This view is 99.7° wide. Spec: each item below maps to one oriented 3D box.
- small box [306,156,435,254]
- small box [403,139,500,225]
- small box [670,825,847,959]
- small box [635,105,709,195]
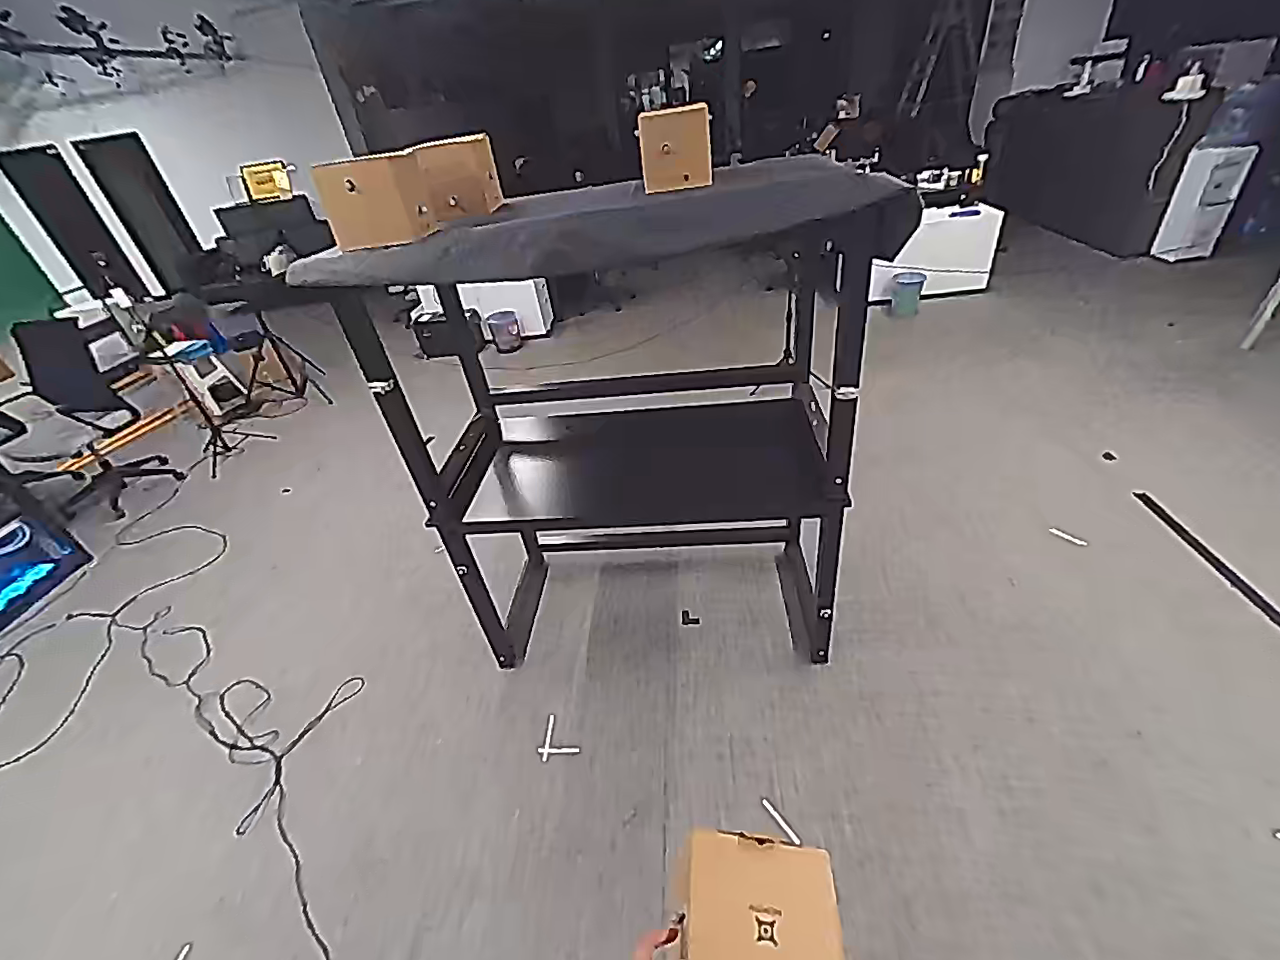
[{"bbox_3d":[-0.589,-0.613,1.208,0.179,0.176,0.168,-5,35,4],"label":"small box"},{"bbox_3d":[-0.487,-0.788,1.431,0.179,0.176,0.168,-4,36,5],"label":"small box"},{"bbox_3d":[0.126,0.540,0.618,0.168,0.176,0.179,9,34,2],"label":"small box"},{"bbox_3d":[0.085,-0.833,1.370,0.168,0.176,0.179,-5,36,7],"label":"small box"}]
